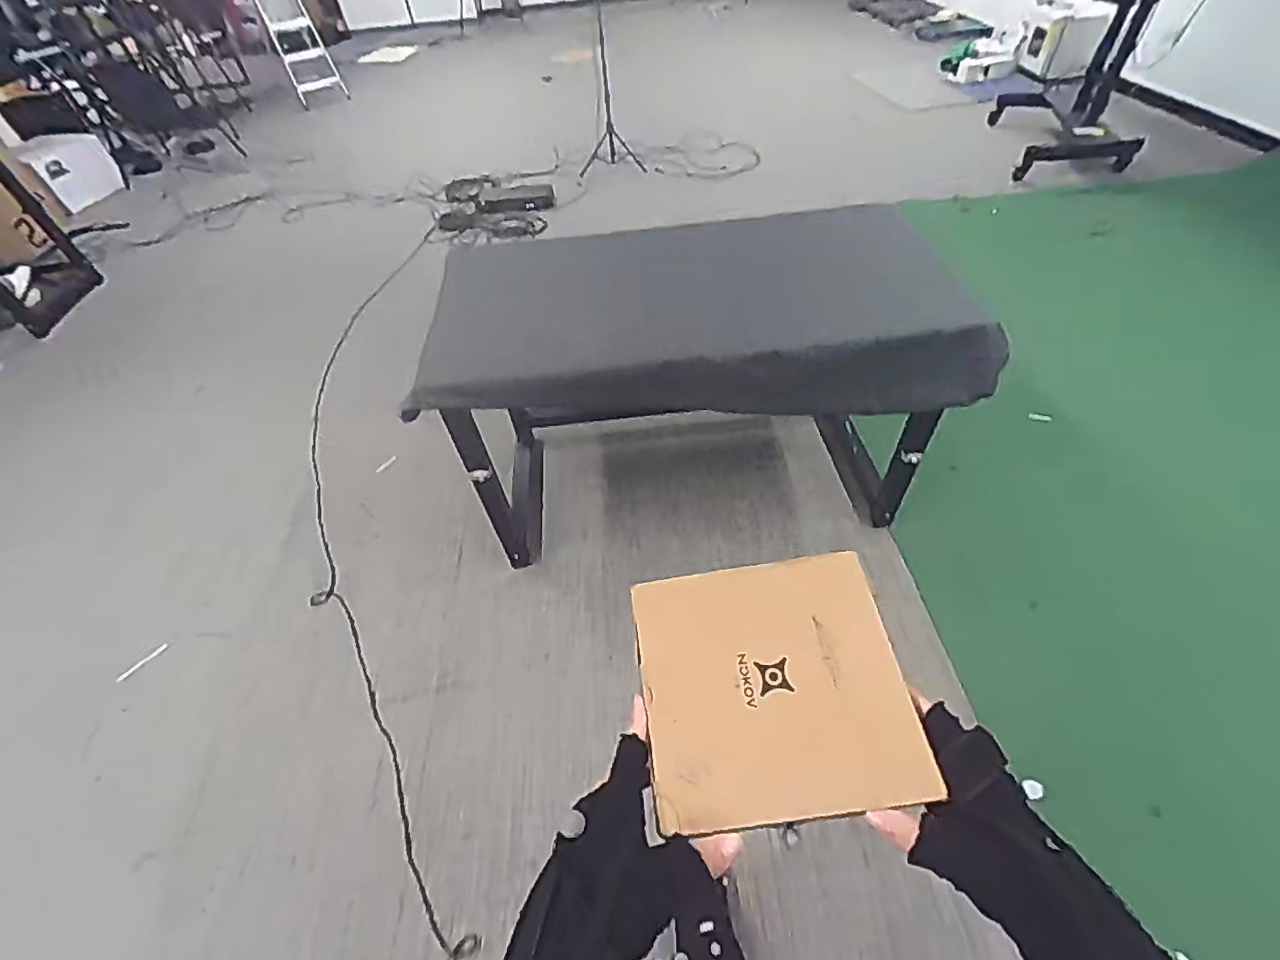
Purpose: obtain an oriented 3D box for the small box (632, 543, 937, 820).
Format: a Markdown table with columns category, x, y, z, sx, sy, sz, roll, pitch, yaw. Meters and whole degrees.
| category | x | y | z | sx | sy | sz | roll | pitch | yaw |
| --- | --- | --- | --- | --- | --- | --- | --- | --- | --- |
| small box | 0.098 | 0.172 | 0.444 | 0.179 | 0.176 | 0.168 | -10 | 58 | 0 |
